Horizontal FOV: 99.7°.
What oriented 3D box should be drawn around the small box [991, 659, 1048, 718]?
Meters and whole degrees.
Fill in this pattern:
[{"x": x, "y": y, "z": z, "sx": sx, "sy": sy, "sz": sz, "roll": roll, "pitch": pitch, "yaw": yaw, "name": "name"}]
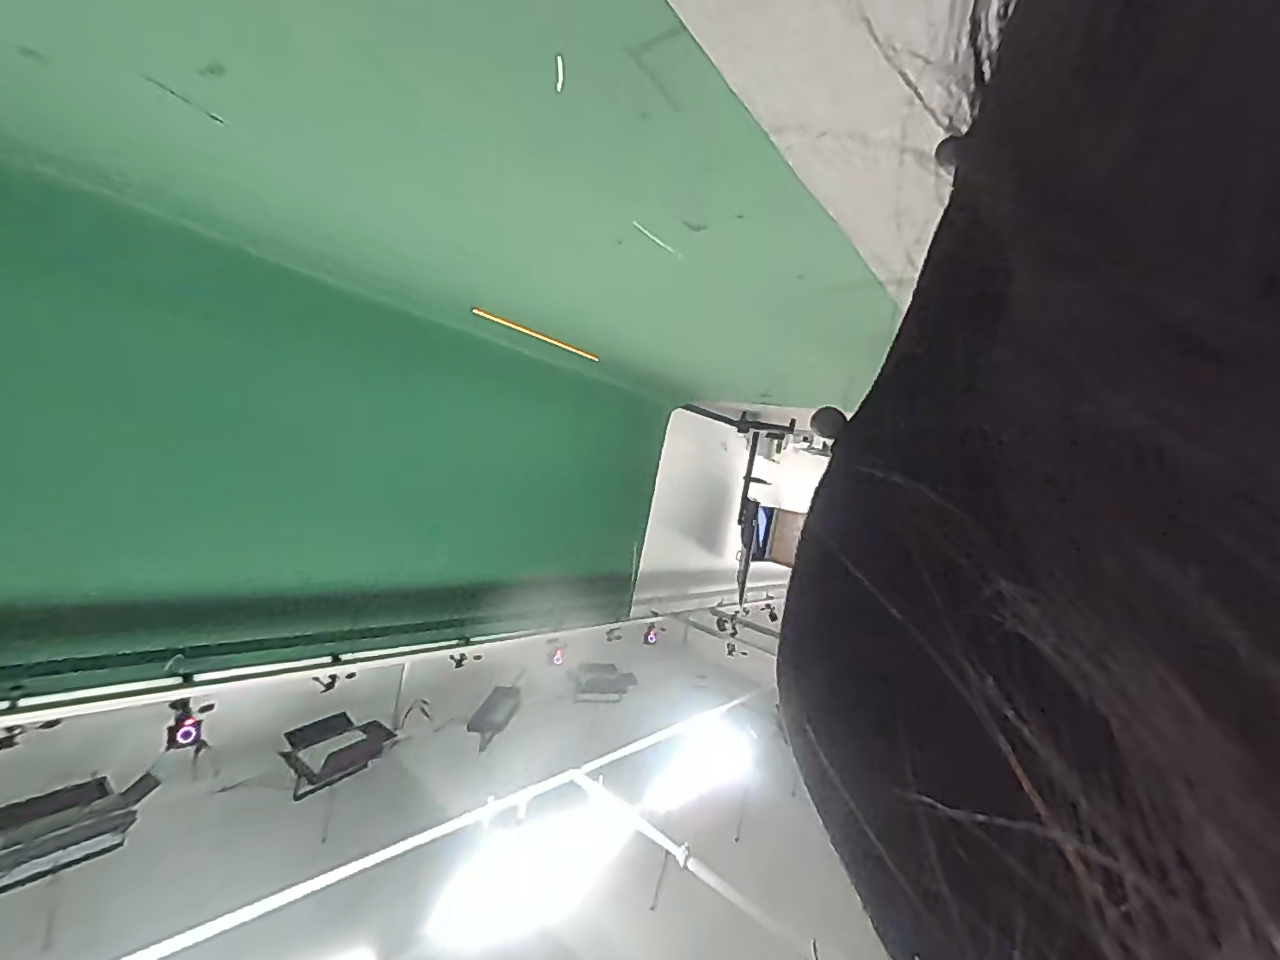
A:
[{"x": 1.600, "y": 0.872, "z": 2.283, "sx": 0.168, "sy": 0.176, "sz": 0.179, "roll": 11, "pitch": 179, "yaw": 31, "name": "small box"}]
